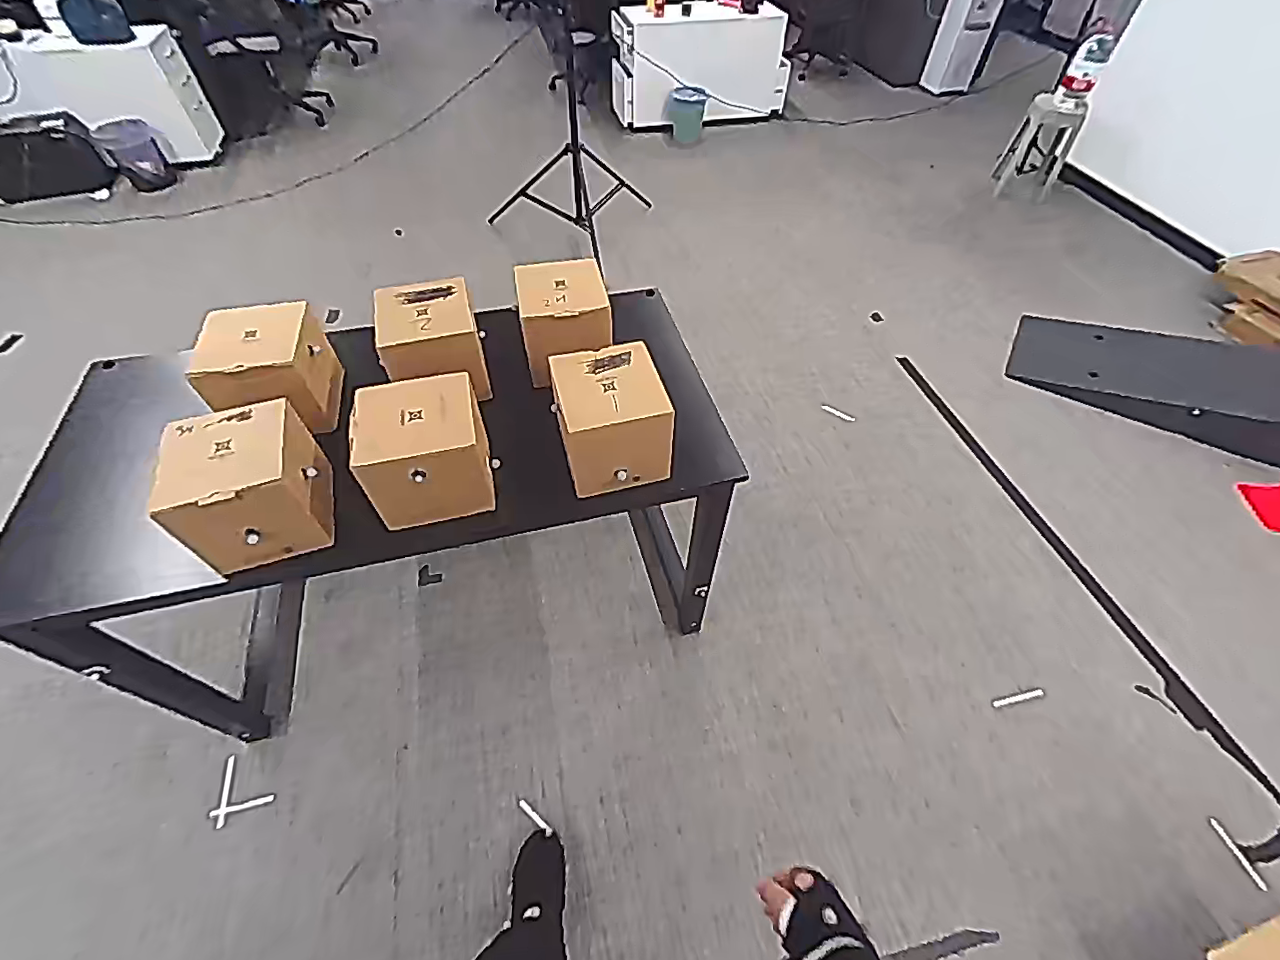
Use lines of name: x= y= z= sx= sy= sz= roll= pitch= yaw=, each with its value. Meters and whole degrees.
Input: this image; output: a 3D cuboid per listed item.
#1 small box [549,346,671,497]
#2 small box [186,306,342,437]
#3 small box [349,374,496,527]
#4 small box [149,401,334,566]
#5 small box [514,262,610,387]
small box: x=-0.054 y=-0.099 z=0.923 sx=0.168 sy=0.176 sz=0.179 roll=-13 pitch=53 yaw=-10
small box: x=-0.668 y=-0.192 z=0.990 sx=0.168 sy=0.176 sz=0.179 roll=-10 pitch=53 yaw=-9
small box: x=-0.345 y=-0.044 z=0.879 sx=0.179 sy=0.176 sz=0.168 roll=-12 pitch=53 yaw=-11
small box: x=-0.591 y=0.012 z=0.829 sx=0.168 sy=0.176 sz=0.179 roll=-16 pitch=54 yaw=-13
small box: x=-0.156 y=-0.313 z=1.091 sx=0.168 sy=0.176 sz=0.179 roll=-10 pitch=53 yaw=-8
